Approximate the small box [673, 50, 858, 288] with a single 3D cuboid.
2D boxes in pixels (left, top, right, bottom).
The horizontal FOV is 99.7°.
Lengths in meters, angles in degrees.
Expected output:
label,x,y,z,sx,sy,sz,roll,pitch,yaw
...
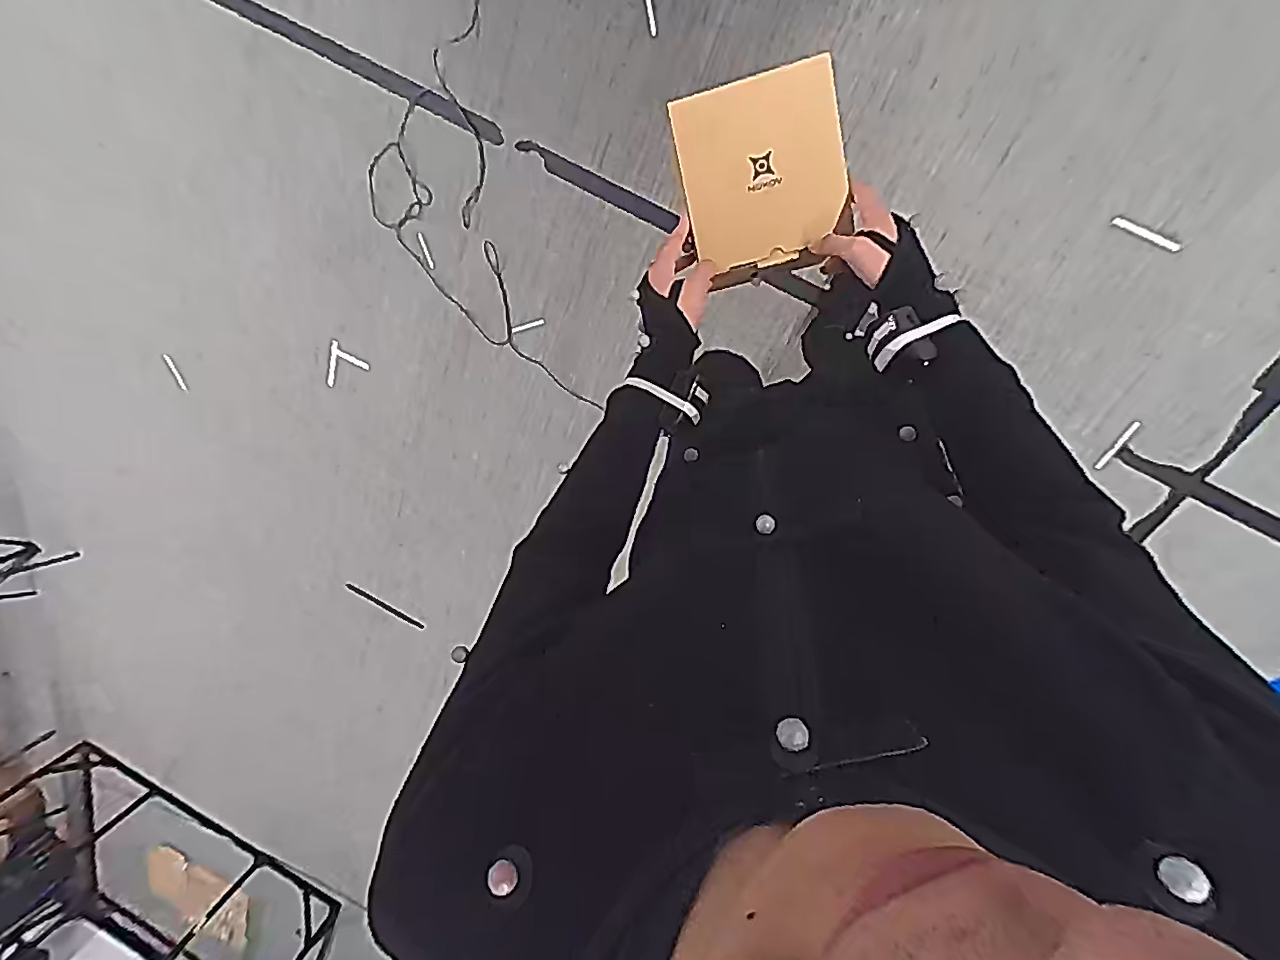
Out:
label,x,y,z,sx,sy,sz,roll,pitch,yaw
small box,0.135,-0.340,0.630,0.168,0.176,0.179,-12,102,8
